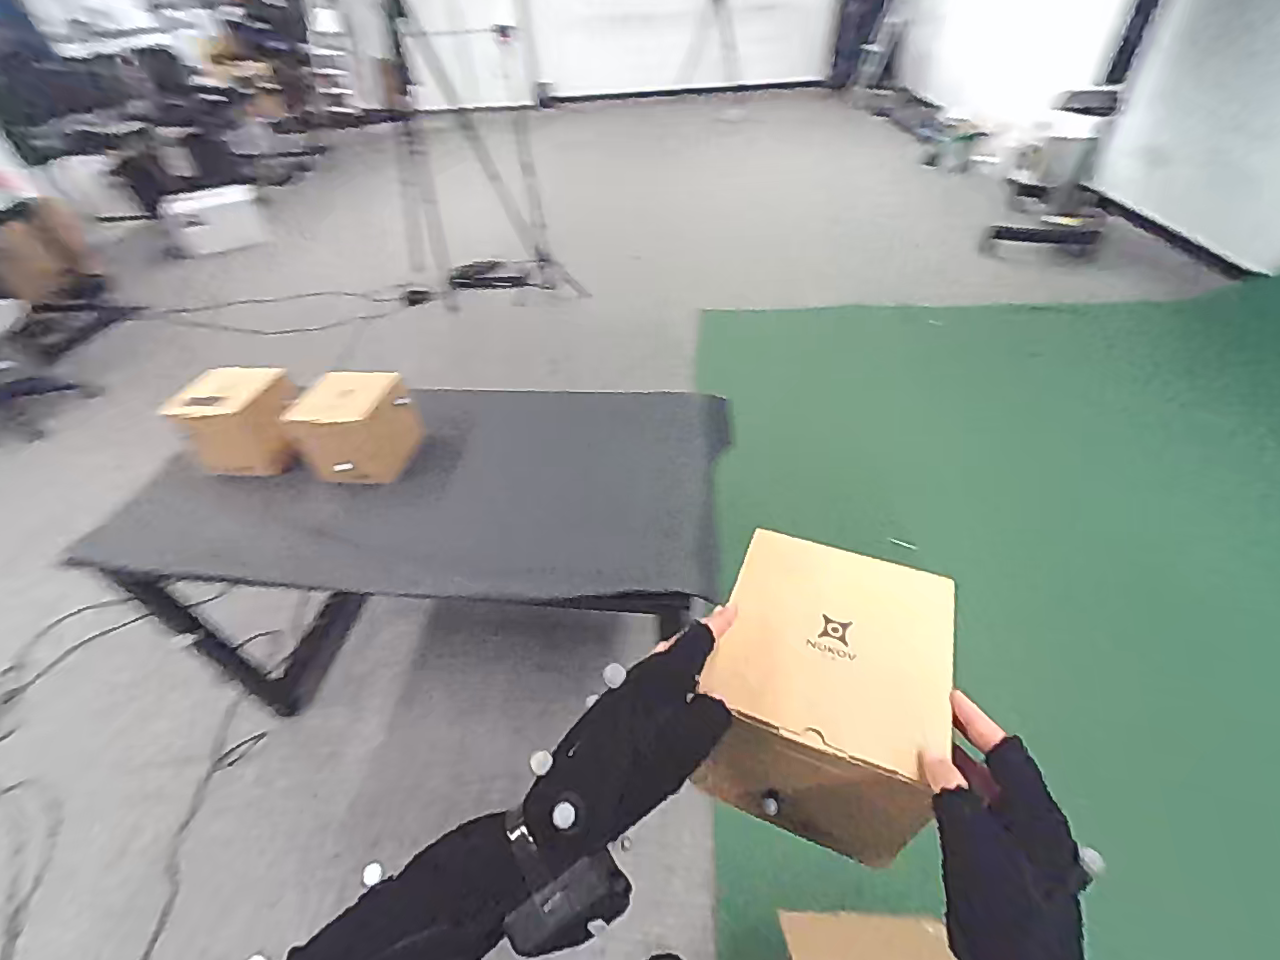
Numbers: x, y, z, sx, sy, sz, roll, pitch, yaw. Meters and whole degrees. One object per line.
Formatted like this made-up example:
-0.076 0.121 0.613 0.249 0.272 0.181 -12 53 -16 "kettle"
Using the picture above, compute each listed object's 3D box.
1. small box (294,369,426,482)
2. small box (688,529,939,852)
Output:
-0.583 -0.118 1.158 0.168 0.176 0.179 3 44 8 "small box"
0.142 0.176 0.467 0.168 0.176 0.179 13 46 18 "small box"
